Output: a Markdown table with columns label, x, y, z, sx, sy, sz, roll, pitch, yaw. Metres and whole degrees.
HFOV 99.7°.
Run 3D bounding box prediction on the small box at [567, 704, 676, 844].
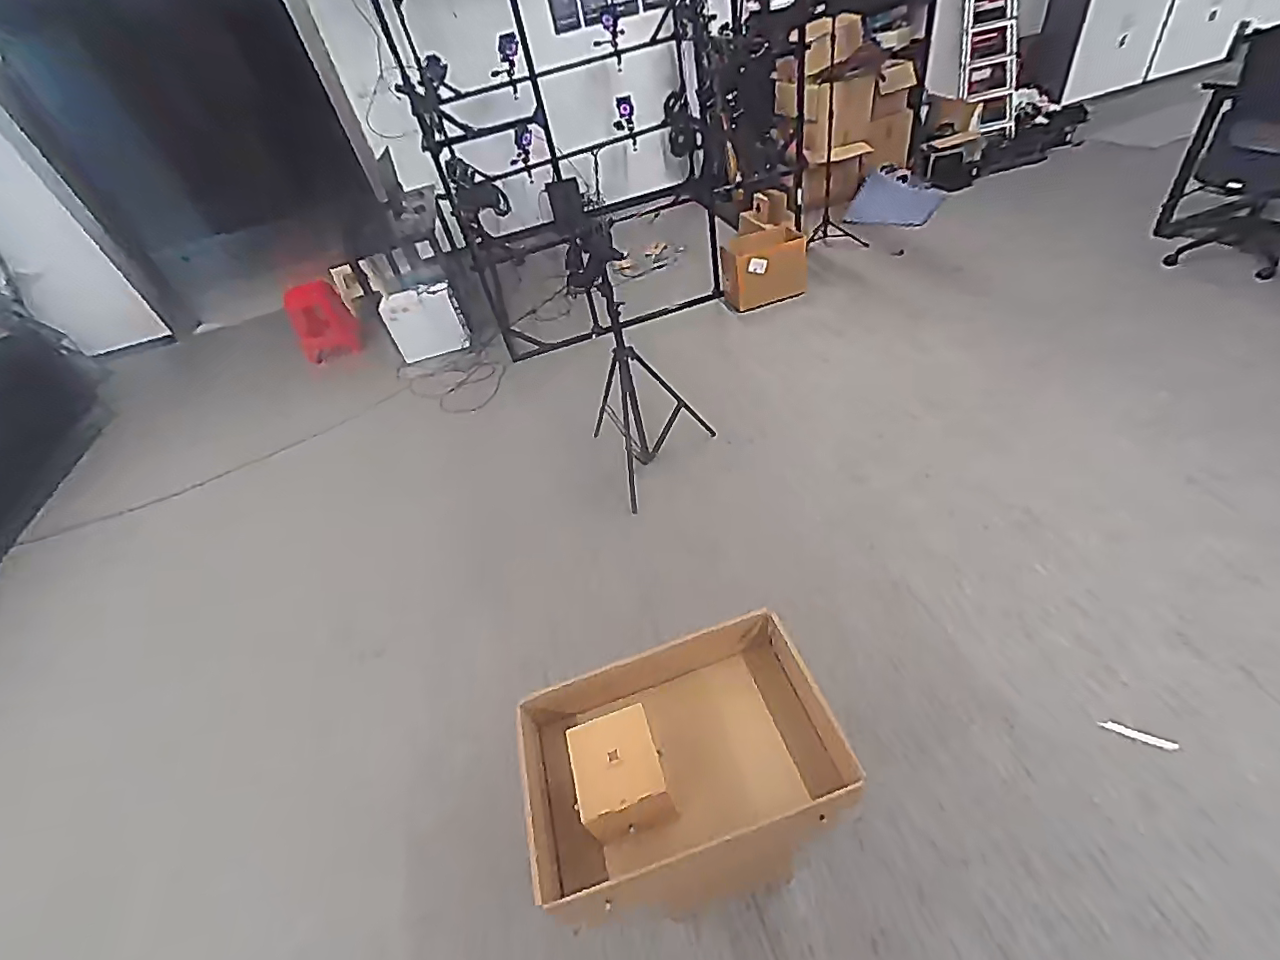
| label | x | y | z | sx | sy | sz | roll | pitch | yaw |
| --- | --- | --- | --- | --- | --- | --- | --- | --- | --- |
| small box | -0.036 | 0.594 | 1.094 | 0.168 | 0.176 | 0.179 | -19 | 43 | -5 |
